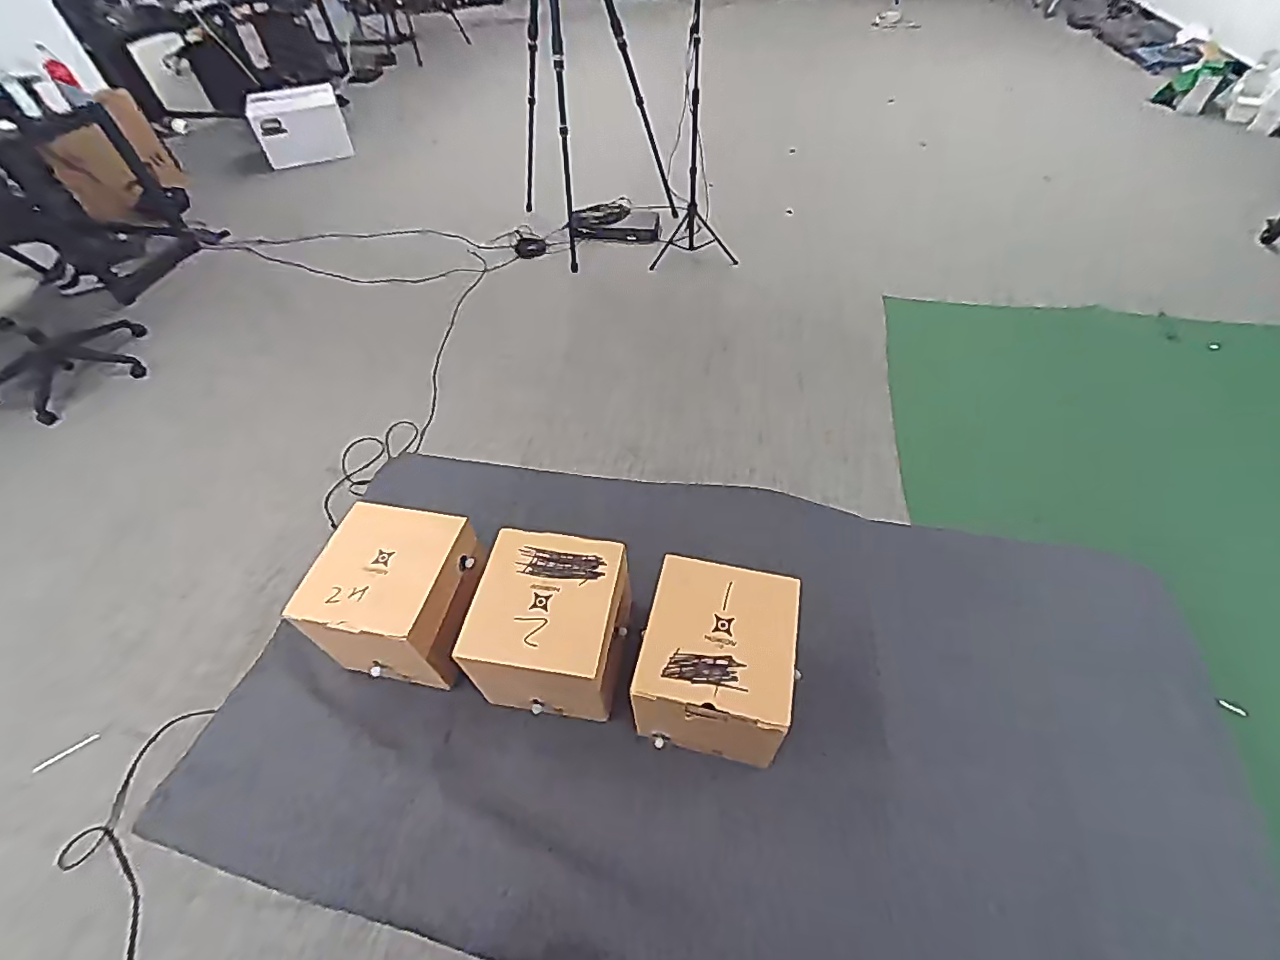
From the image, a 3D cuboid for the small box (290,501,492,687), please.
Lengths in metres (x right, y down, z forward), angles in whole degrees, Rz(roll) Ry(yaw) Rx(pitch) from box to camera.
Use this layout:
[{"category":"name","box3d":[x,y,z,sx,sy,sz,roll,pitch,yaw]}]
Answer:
[{"category":"small box","box3d":[-0.319,0.157,0.741,0.168,0.176,0.179,8,51,9]}]
